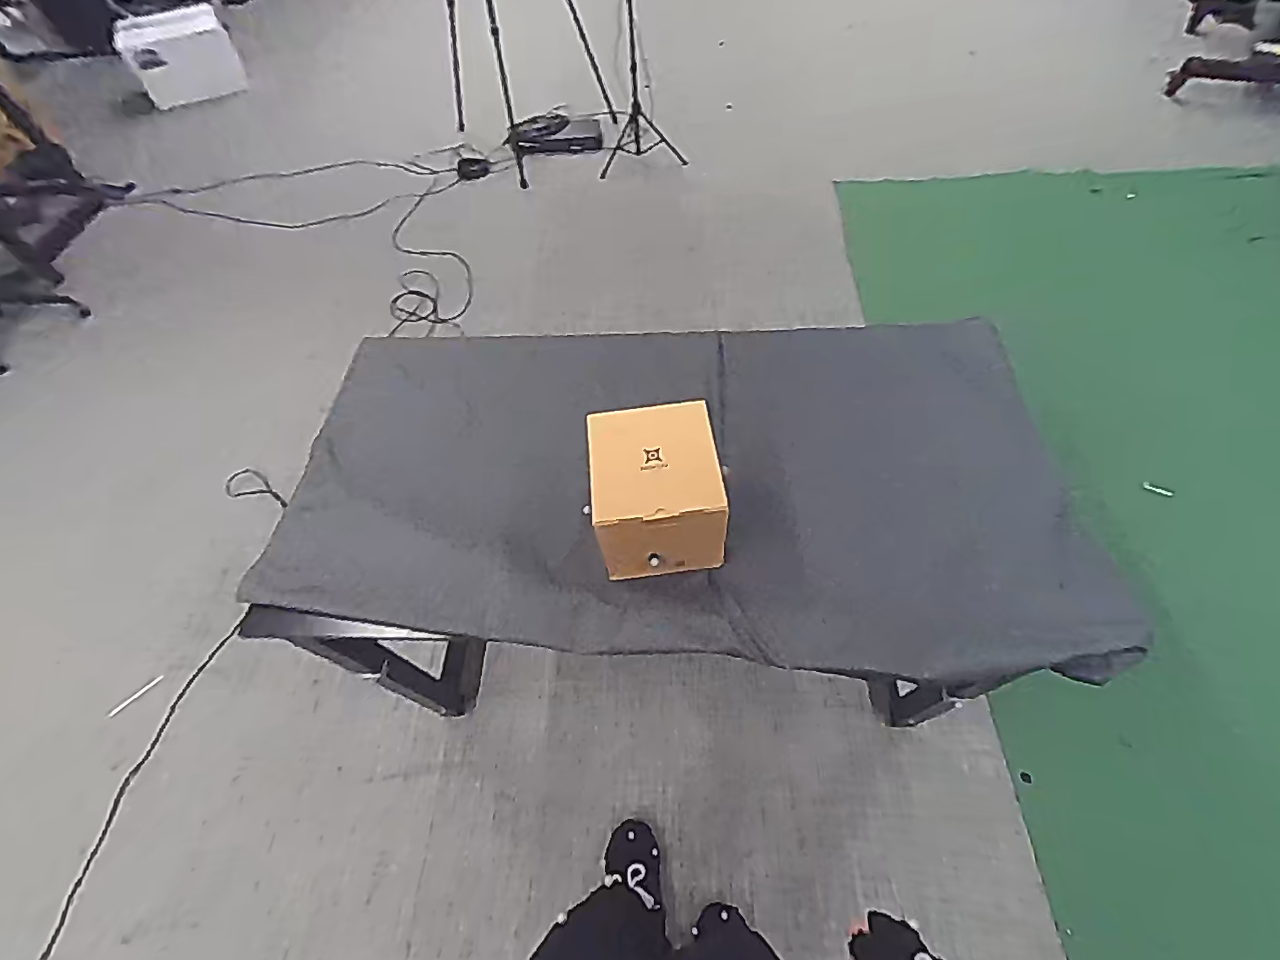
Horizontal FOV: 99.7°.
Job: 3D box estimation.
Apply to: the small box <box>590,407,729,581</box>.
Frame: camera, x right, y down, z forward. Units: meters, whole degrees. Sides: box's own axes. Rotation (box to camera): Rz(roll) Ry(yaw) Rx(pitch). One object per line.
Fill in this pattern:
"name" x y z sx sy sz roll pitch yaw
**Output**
"small box" 0.022 0.022 0.762 0.168 0.176 0.179 -7 57 -1
